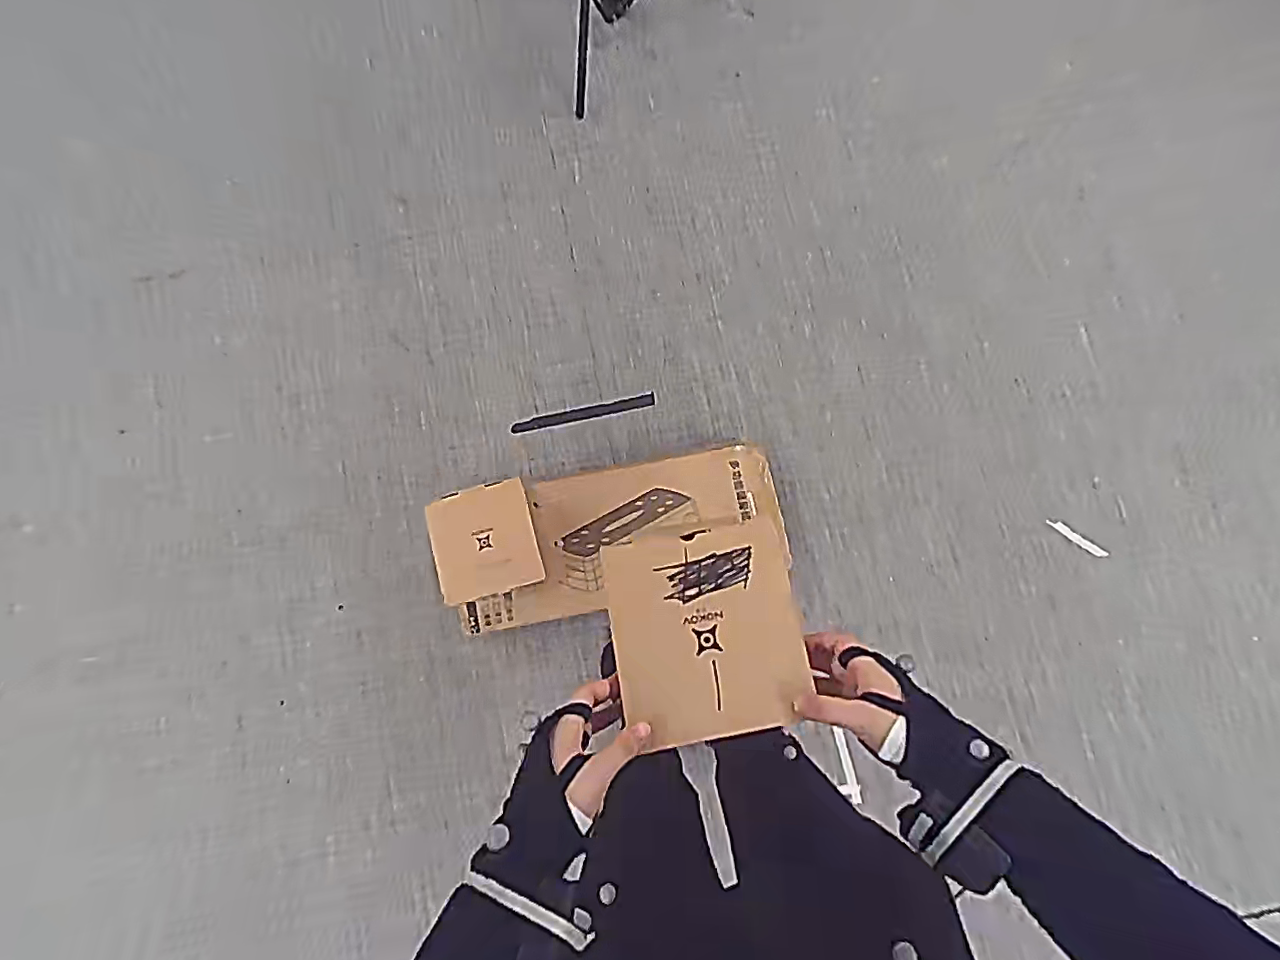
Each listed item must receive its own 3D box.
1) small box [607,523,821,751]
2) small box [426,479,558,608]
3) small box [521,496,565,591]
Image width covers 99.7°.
[{"bbox_3d":[0.057,0.155,0.552,0.168,0.176,0.179,-9,74,-4],"label":"small box"},{"bbox_3d":[-0.250,0.113,0.946,0.168,0.176,0.179,-16,83,-4],"label":"small box"},{"bbox_3d":[-0.251,0.135,1.108,0.168,0.176,0.179,-9,83,-4],"label":"small box"}]
